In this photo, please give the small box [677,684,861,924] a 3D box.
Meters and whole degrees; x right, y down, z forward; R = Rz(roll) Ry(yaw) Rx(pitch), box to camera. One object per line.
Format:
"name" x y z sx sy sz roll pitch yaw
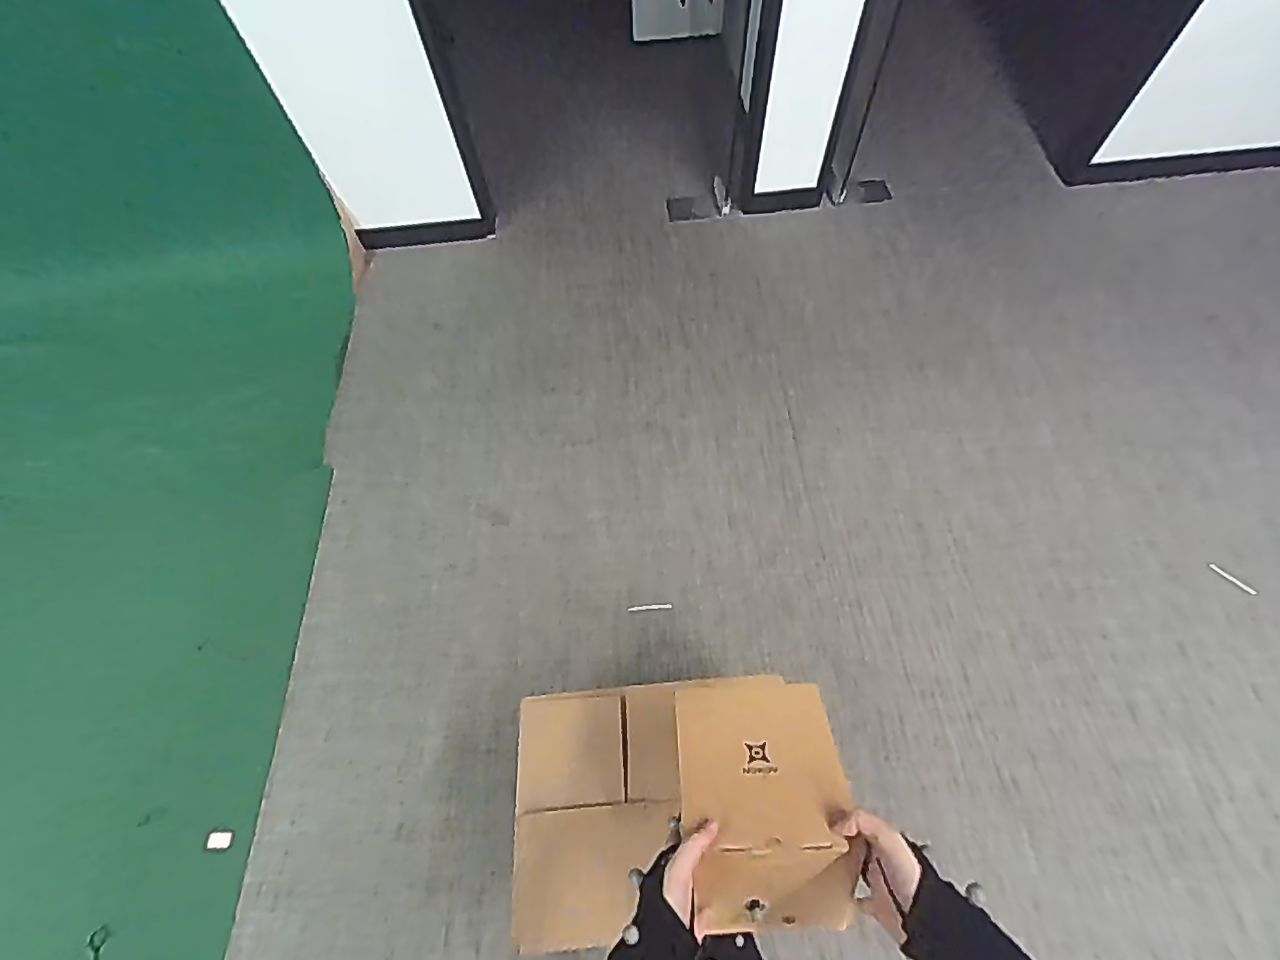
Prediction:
"small box" 0.125 0.354 0.605 0.168 0.176 0.179 -2 32 3
